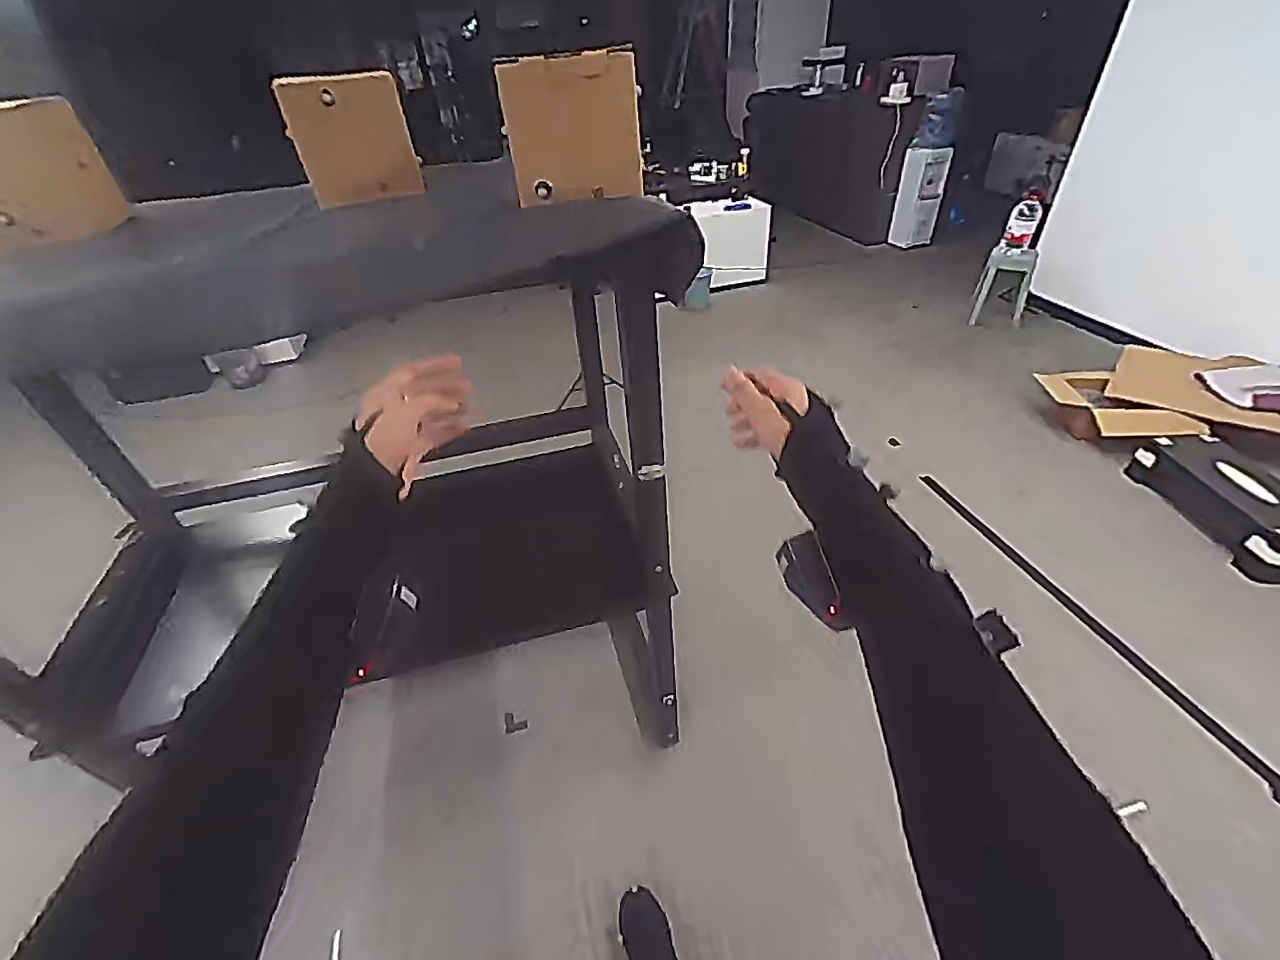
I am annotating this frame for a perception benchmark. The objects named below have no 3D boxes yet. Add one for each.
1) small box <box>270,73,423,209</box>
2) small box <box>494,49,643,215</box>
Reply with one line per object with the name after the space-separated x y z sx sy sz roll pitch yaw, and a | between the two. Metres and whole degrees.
-0.475 -0.559 0.893 0.168 0.176 0.179 -19 41 -17 | small box
-0.090 -0.470 0.738 0.168 0.176 0.179 -8 37 -3 | small box
